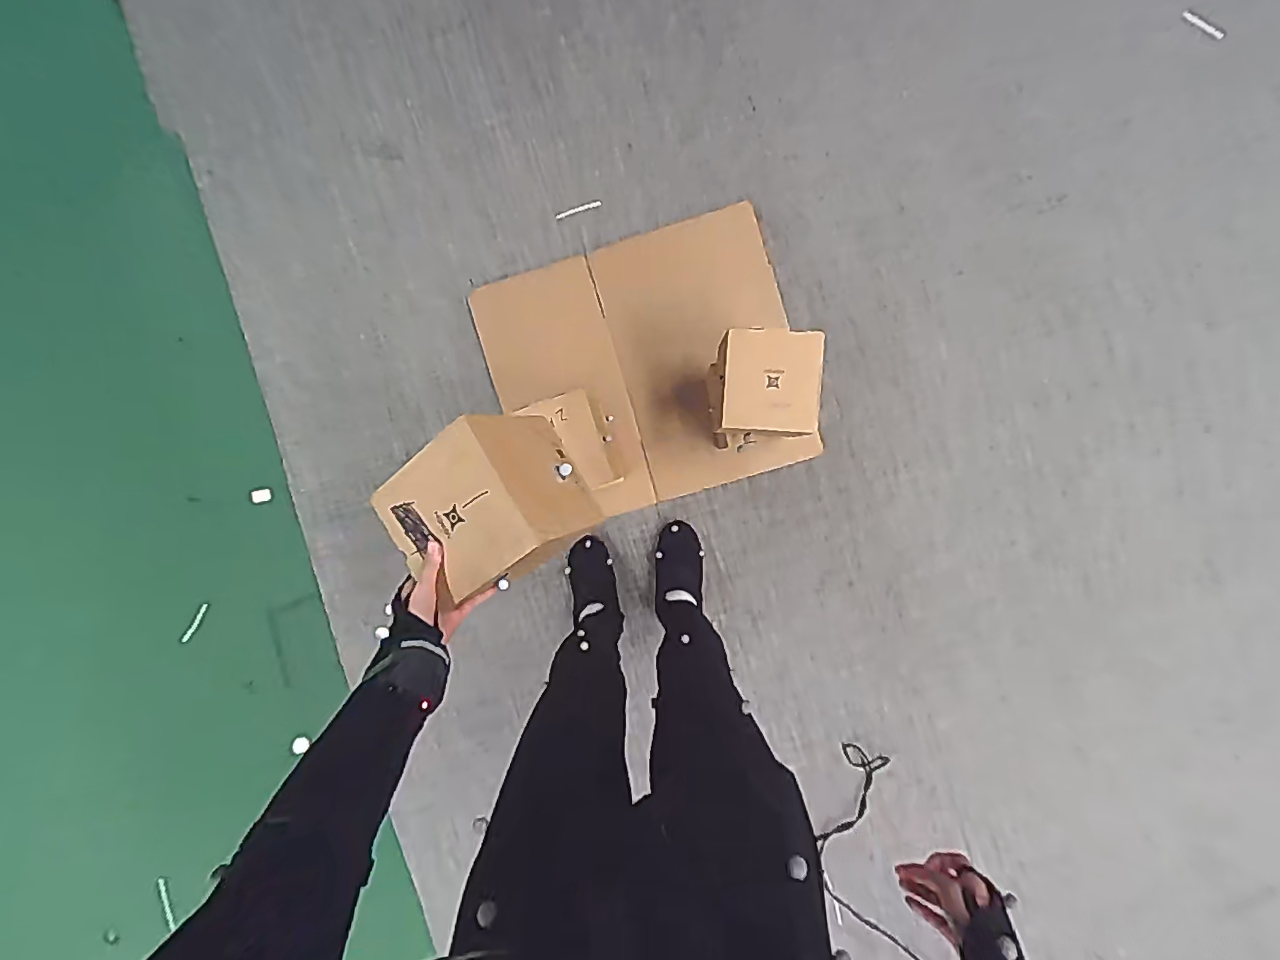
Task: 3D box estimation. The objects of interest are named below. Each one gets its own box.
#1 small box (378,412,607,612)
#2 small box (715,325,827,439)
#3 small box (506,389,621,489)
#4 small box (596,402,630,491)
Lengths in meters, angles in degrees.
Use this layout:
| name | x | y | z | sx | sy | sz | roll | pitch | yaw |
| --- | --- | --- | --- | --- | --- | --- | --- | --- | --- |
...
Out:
| name | x | y | z | sx | sy | sz | roll | pitch | yaw |
| --- | --- | --- | --- | --- | --- | --- | --- | --- | --- |
| small box | -0.173 | 0.033 | 0.667 | 0.179 | 0.176 | 0.168 | -34 | 83 | 21 |
| small box | 0.233 | -0.172 | 0.998 | 0.168 | 0.176 | 0.179 | 4 | 92 | 2 |
| small box | -0.140 | -0.058 | 1.025 | 0.168 | 0.176 | 0.179 | -18 | 91 | 3 |
| small box | -0.127 | -0.059 | 1.189 | 0.168 | 0.176 | 0.179 | -18 | 90 | 4 |
